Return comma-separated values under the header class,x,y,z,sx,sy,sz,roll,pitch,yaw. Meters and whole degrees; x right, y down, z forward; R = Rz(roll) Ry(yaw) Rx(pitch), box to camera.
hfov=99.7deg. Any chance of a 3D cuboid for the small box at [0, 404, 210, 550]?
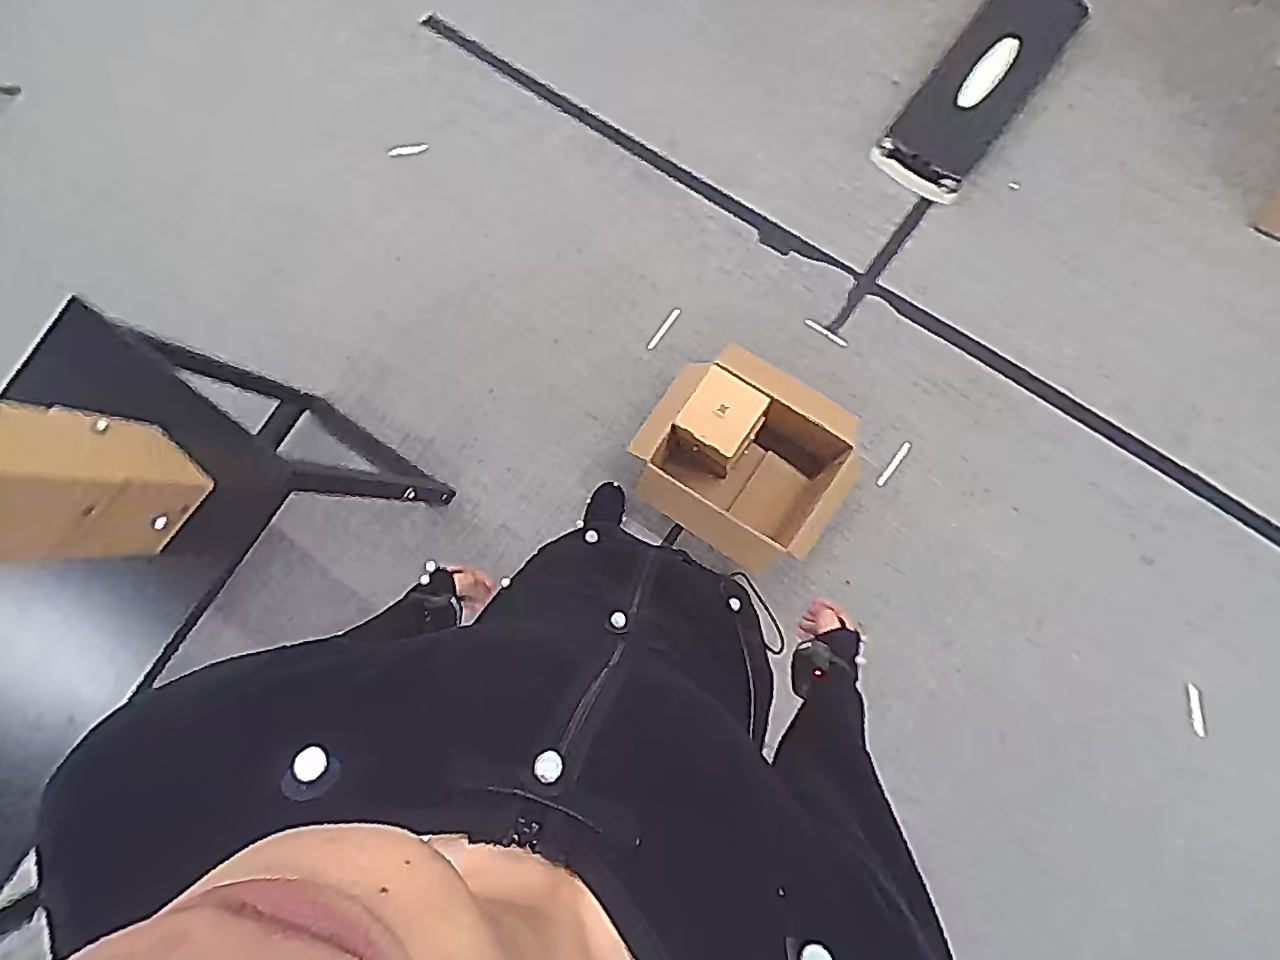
class,x,y,z,sx,sy,sz,roll,pitch,yaw
small box,-0.901,0.002,0.917,0.179,0.176,0.168,41,91,8
